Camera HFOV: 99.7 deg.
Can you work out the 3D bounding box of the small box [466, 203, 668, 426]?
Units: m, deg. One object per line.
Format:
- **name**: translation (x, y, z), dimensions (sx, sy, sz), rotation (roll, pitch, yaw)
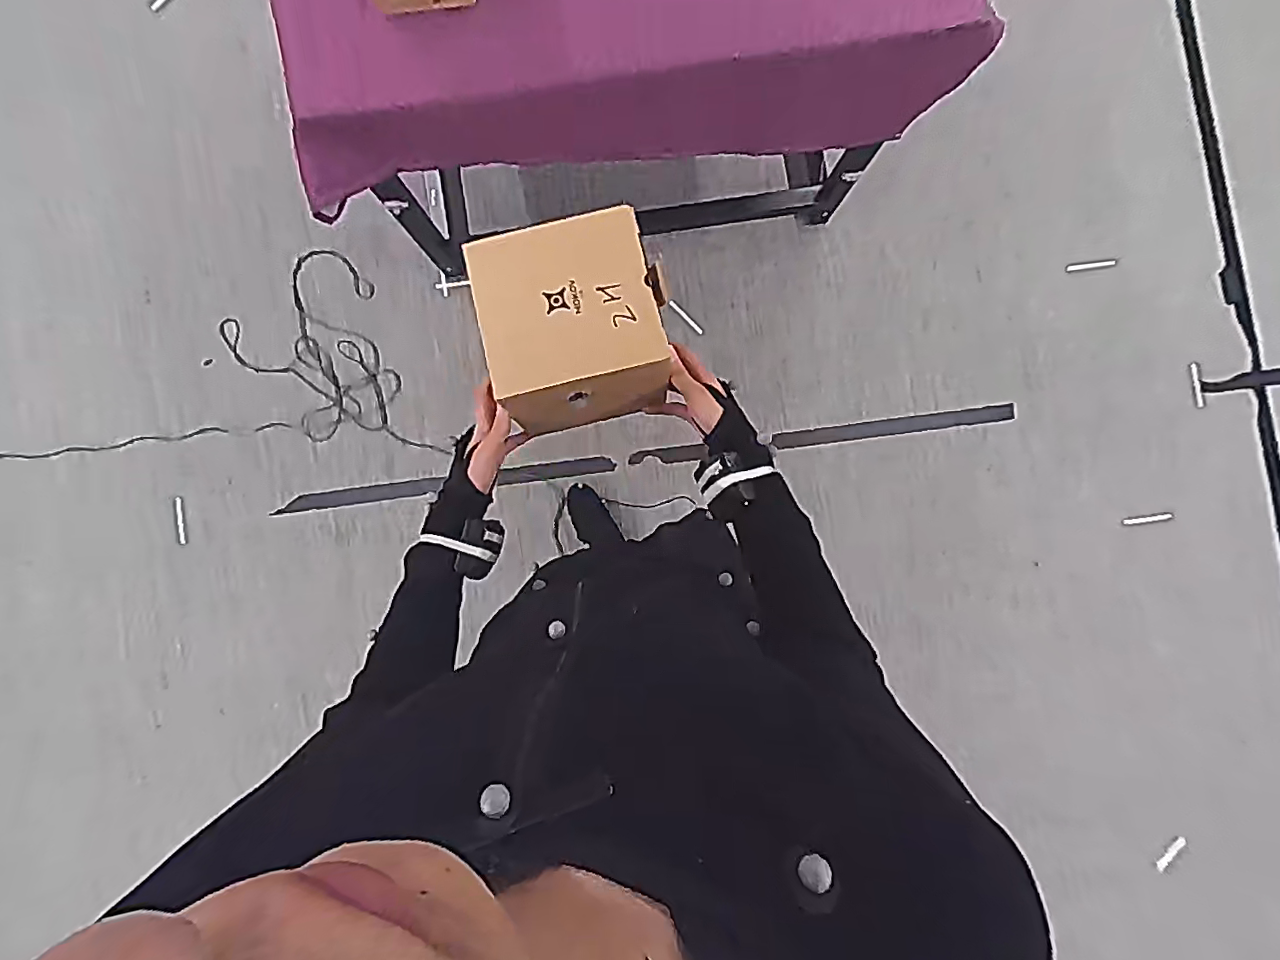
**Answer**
- **small box**: translation (-0.071, -0.169, 0.605), dimensions (0.179, 0.176, 0.168), rotation (-13, 82, -2)
